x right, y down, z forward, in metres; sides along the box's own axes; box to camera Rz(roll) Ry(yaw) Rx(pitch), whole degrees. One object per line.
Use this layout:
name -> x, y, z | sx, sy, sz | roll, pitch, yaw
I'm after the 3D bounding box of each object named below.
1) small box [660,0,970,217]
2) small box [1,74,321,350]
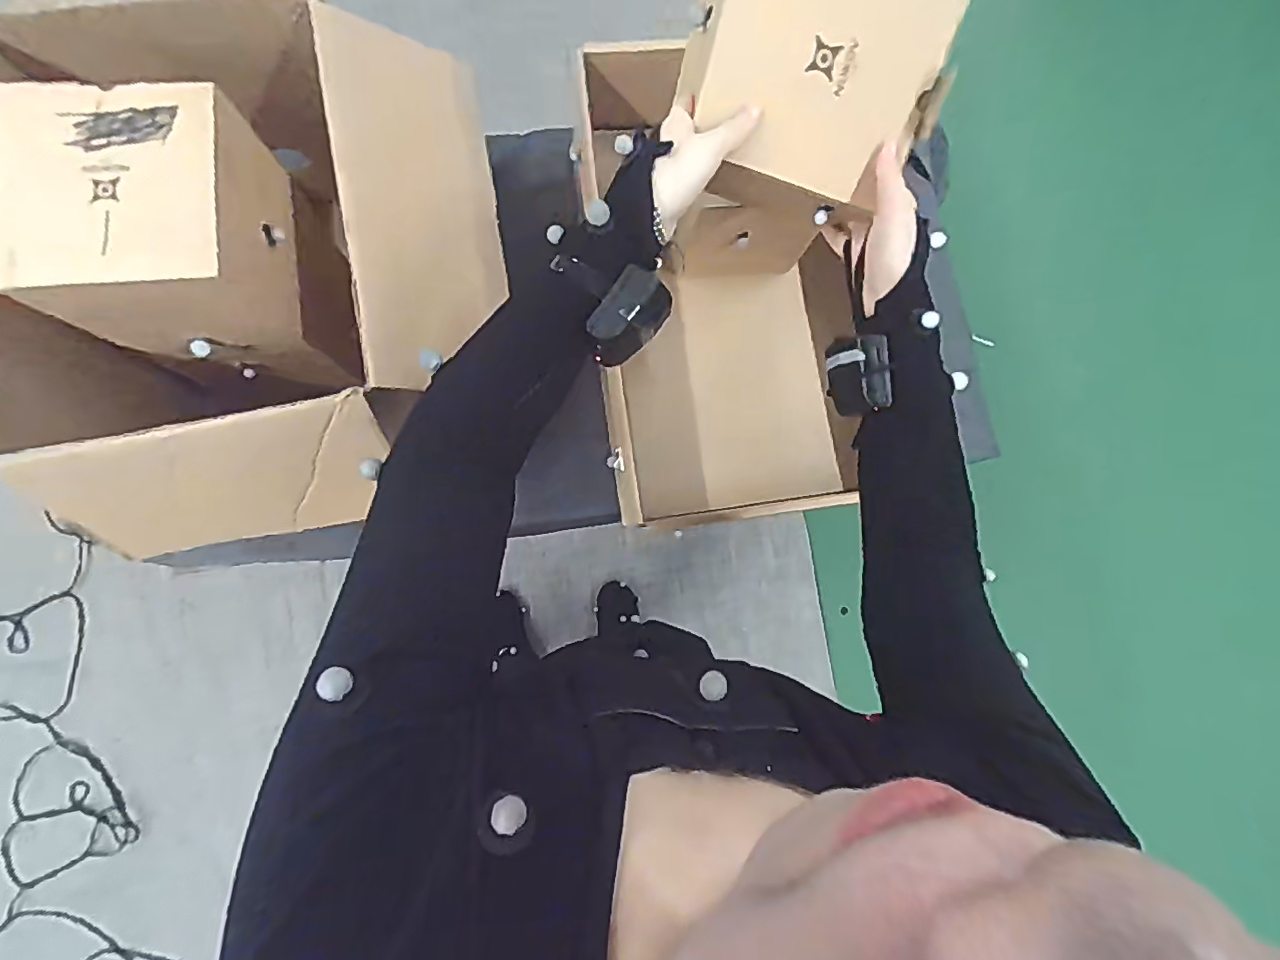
small box -> 0.128, -0.338, 0.470 | 0.179, 0.176, 0.168 | 12, 113, -13
small box -> -0.430, -0.239, 0.516 | 0.168, 0.176, 0.179 | -5, 85, -7
